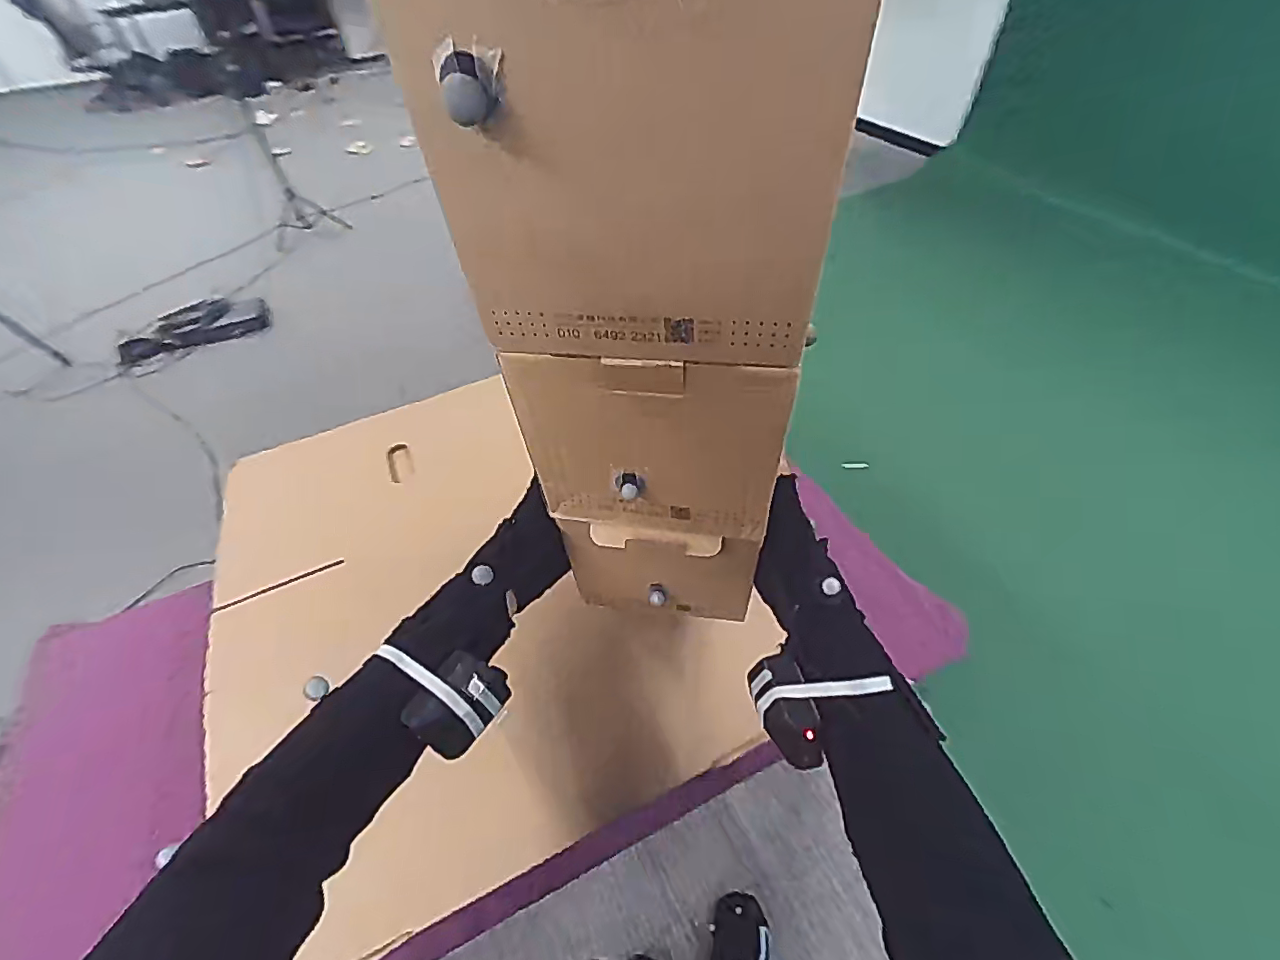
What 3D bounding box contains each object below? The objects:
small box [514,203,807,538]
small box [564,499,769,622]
[{"bbox_3d":[0.026,-0.080,0.405,0.168,0.176,0.179,6,54,8],"label":"small box"},{"bbox_3d":[0.037,0.017,0.535,0.168,0.176,0.179,6,54,9],"label":"small box"}]
